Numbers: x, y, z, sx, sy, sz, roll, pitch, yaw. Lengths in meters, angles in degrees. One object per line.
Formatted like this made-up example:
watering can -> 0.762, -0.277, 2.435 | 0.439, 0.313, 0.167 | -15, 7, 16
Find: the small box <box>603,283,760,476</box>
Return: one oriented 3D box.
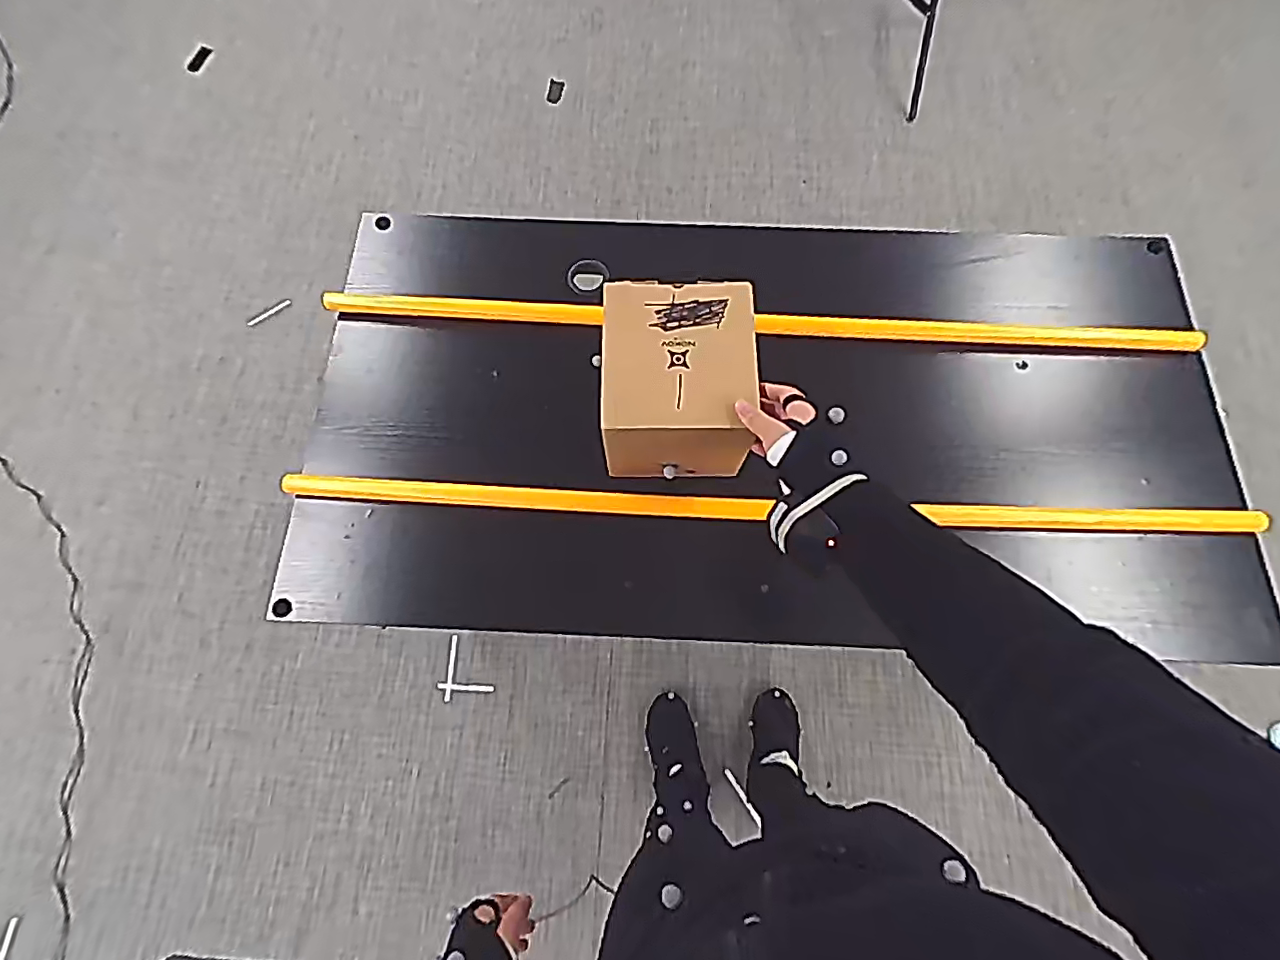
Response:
small box -> 0.043, -0.113, 0.656 | 0.168, 0.176, 0.179 | 0, 74, 1
